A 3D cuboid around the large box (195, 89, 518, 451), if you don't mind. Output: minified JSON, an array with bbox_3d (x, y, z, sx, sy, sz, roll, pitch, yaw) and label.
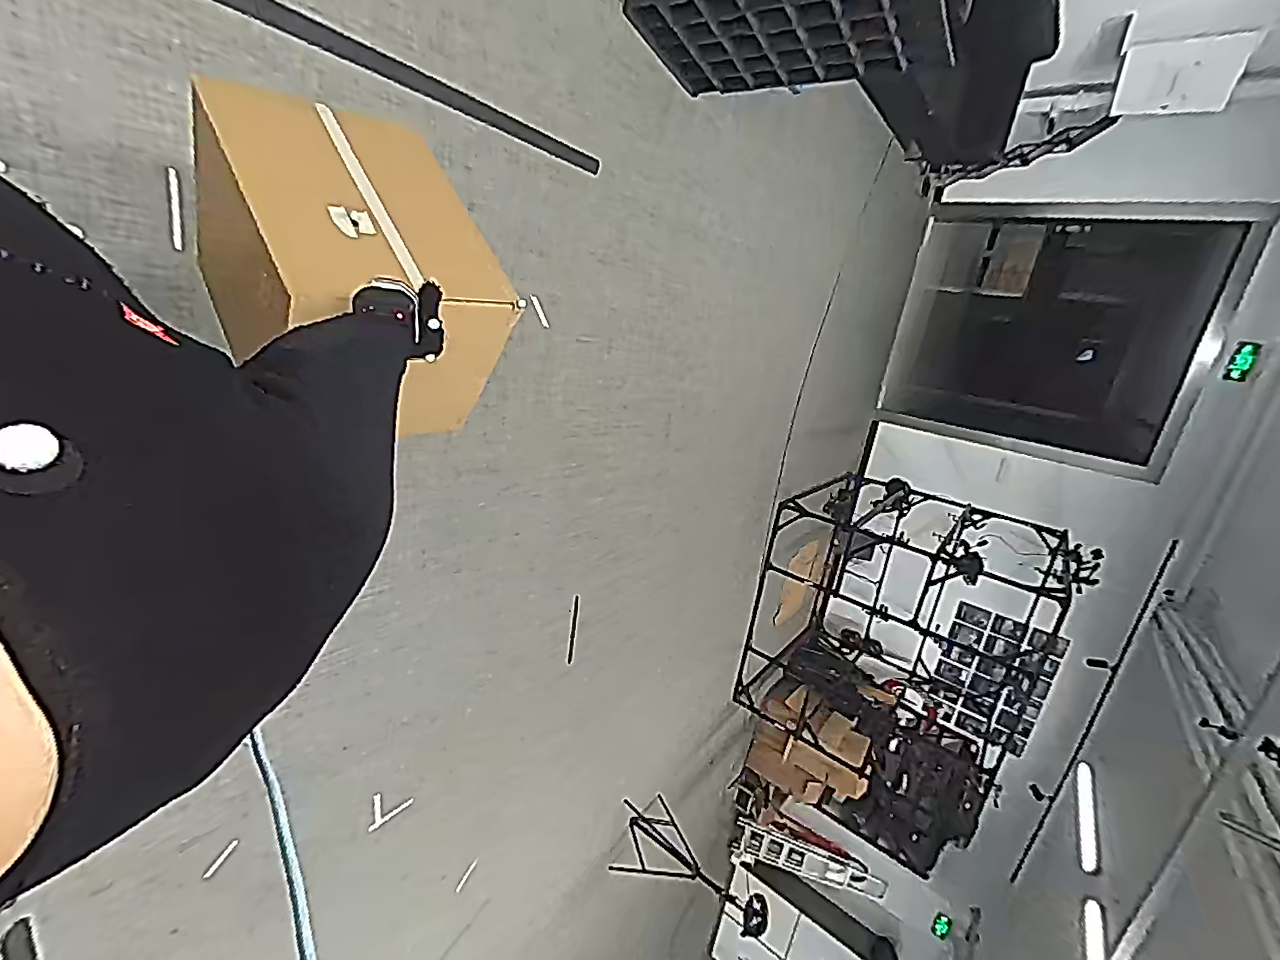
[{"bbox_3d":[-0.472,-0.312,0.878,0.320,0.408,0.320,-17,160,-44],"label":"large box"}]
